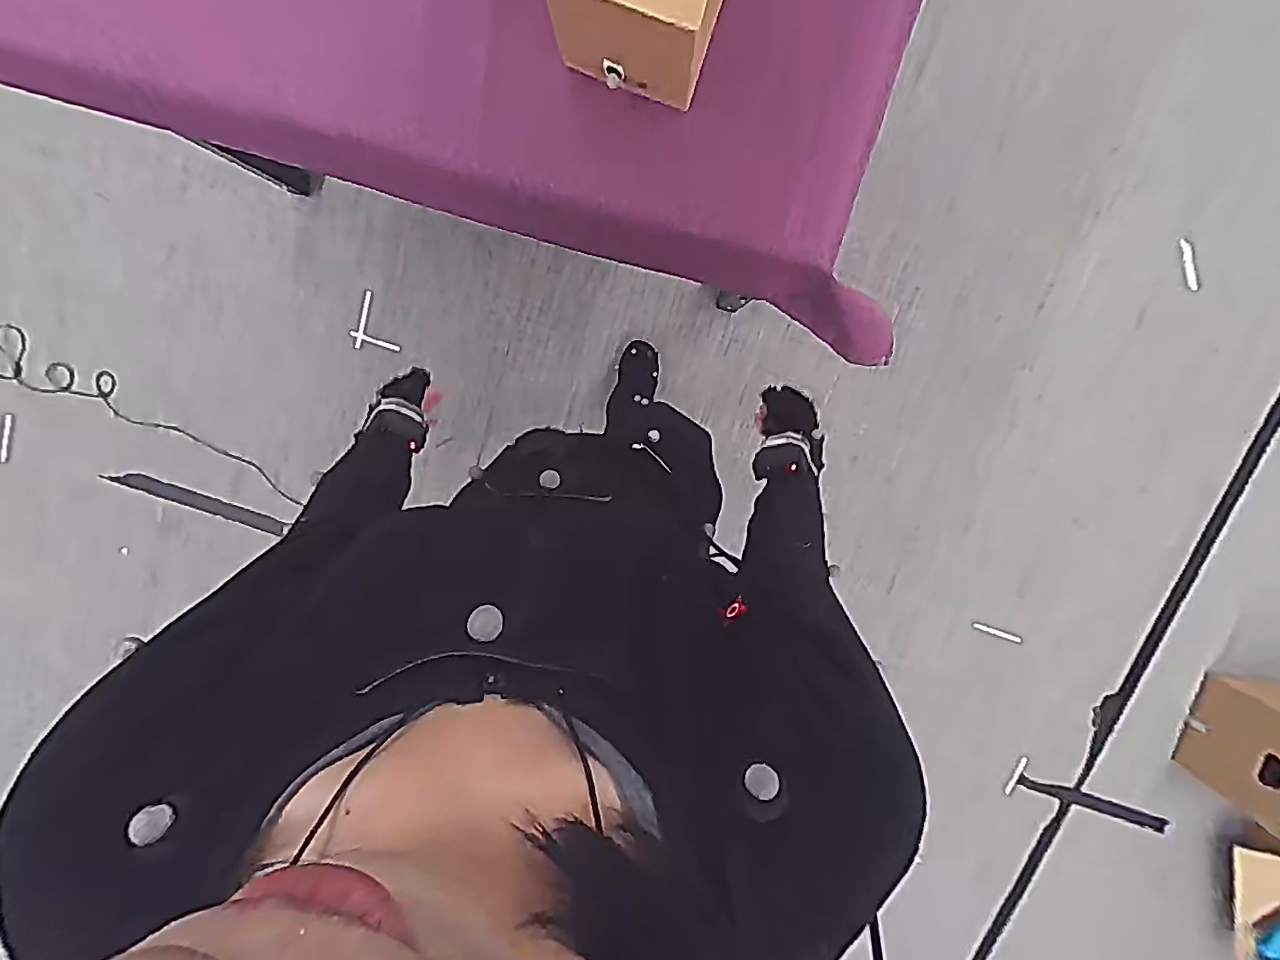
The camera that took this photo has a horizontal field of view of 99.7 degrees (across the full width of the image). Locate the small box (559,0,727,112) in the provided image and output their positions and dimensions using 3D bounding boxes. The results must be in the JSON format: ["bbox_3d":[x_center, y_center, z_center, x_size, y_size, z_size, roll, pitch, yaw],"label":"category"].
[{"bbox_3d":[0.012,-0.554,0.589,0.168,0.176,0.179,18,101,-2],"label":"small box"}]

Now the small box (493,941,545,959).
[{"bbox_3d":[-0.405,1.636,1.737,0.168,0.176,0.179,7,101,-2],"label":"small box"}]

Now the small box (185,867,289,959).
[{"bbox_3d":[-1.248,1.372,1.687,0.168,0.176,0.179,34,99,-6],"label":"small box"}]
